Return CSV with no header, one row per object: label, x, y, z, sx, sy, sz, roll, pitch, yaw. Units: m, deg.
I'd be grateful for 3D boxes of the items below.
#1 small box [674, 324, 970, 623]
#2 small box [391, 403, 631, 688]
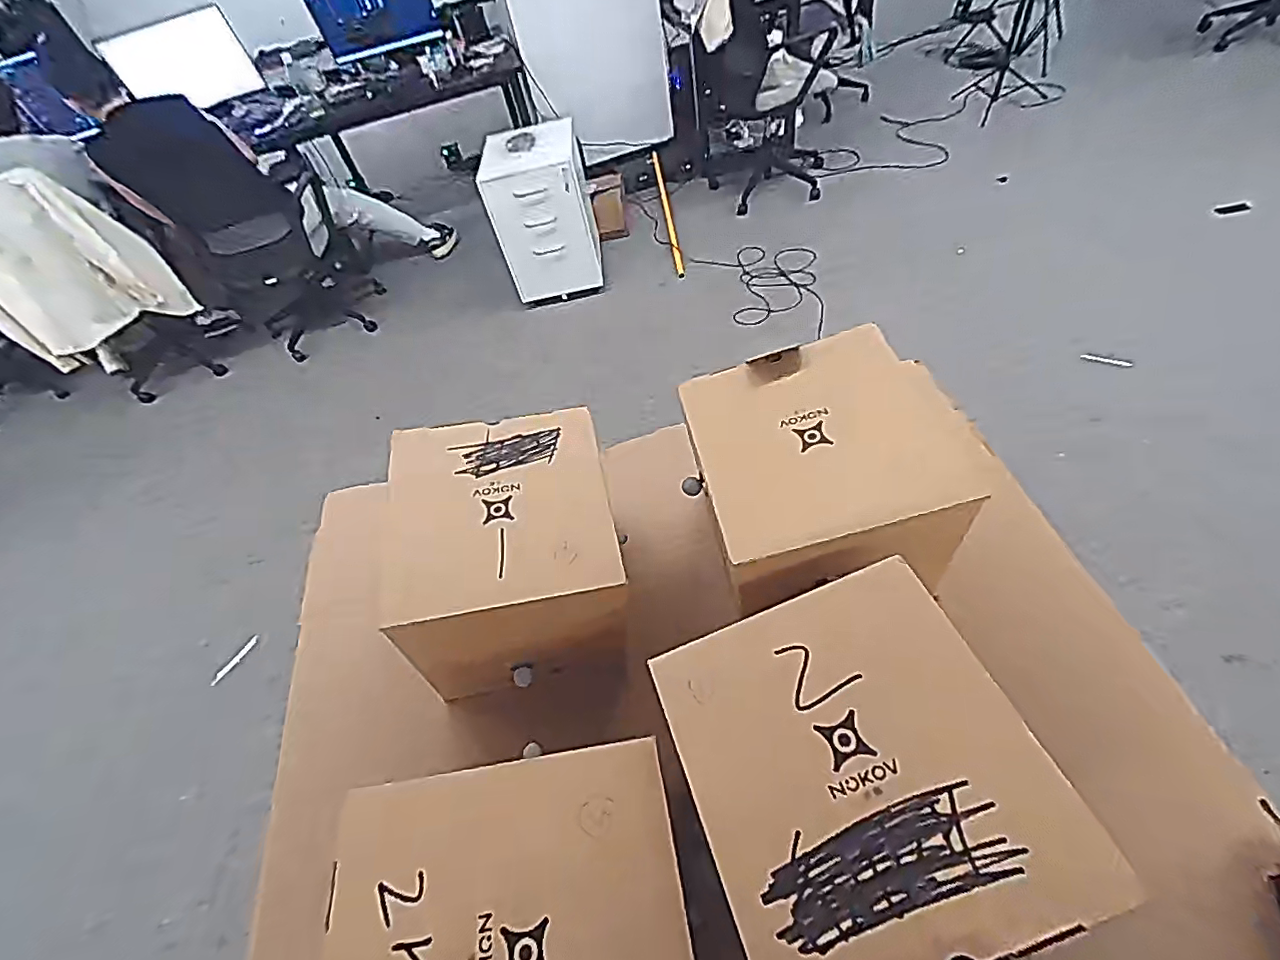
small box,0.140,0.007,0.462,0.168,0.176,0.179,-17,52,6
small box,-0.106,0.060,0.485,0.168,0.176,0.179,-11,53,-8
